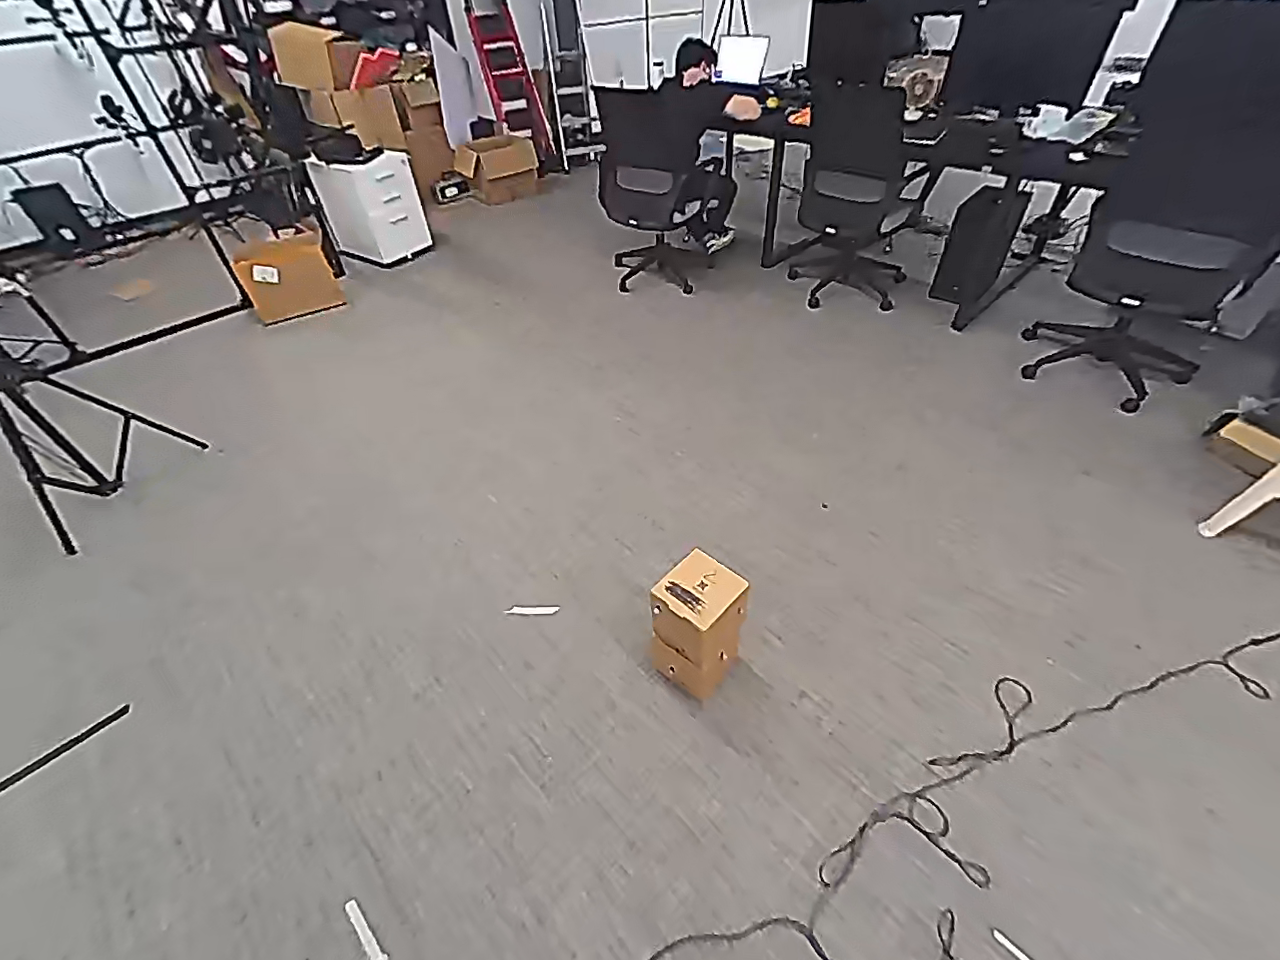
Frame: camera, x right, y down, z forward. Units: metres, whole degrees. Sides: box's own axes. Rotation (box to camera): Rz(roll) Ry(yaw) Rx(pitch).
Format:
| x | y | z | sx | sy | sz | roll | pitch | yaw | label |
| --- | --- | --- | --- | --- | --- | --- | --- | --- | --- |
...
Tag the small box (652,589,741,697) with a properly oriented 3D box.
| x | y | z | sx | sy | sz | roll | pitch | yaw | label |
| --- | --- | --- | --- | --- | --- | --- | --- | --- | --- |
| 0.146 | 0.431 | 1.427 | 0.168 | 0.176 | 0.179 | 27 | 52 | 29 | small box |
